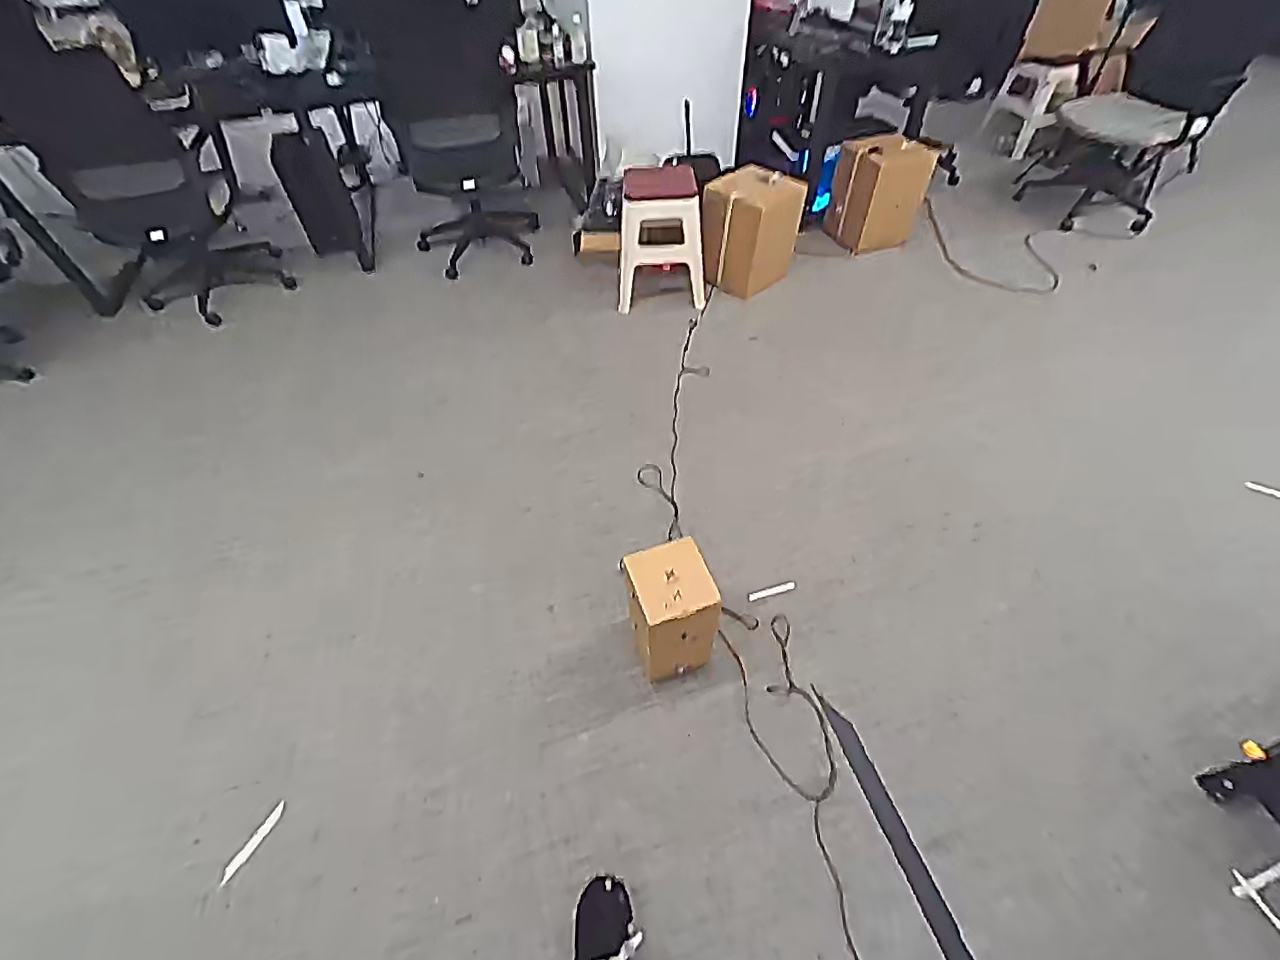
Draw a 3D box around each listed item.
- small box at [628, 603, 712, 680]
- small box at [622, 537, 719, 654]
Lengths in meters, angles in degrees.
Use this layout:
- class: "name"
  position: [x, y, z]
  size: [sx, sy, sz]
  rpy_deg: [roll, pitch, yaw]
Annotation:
- class: "small box"
  position: [0.067, 0.369, 1.352]
  size: [0.168, 0.176, 0.179]
  rpy_deg: [-15, 52, -10]
- class: "small box"
  position: [0.064, 0.263, 1.225]
  size: [0.168, 0.176, 0.179]
  rpy_deg: [-16, 52, -11]
